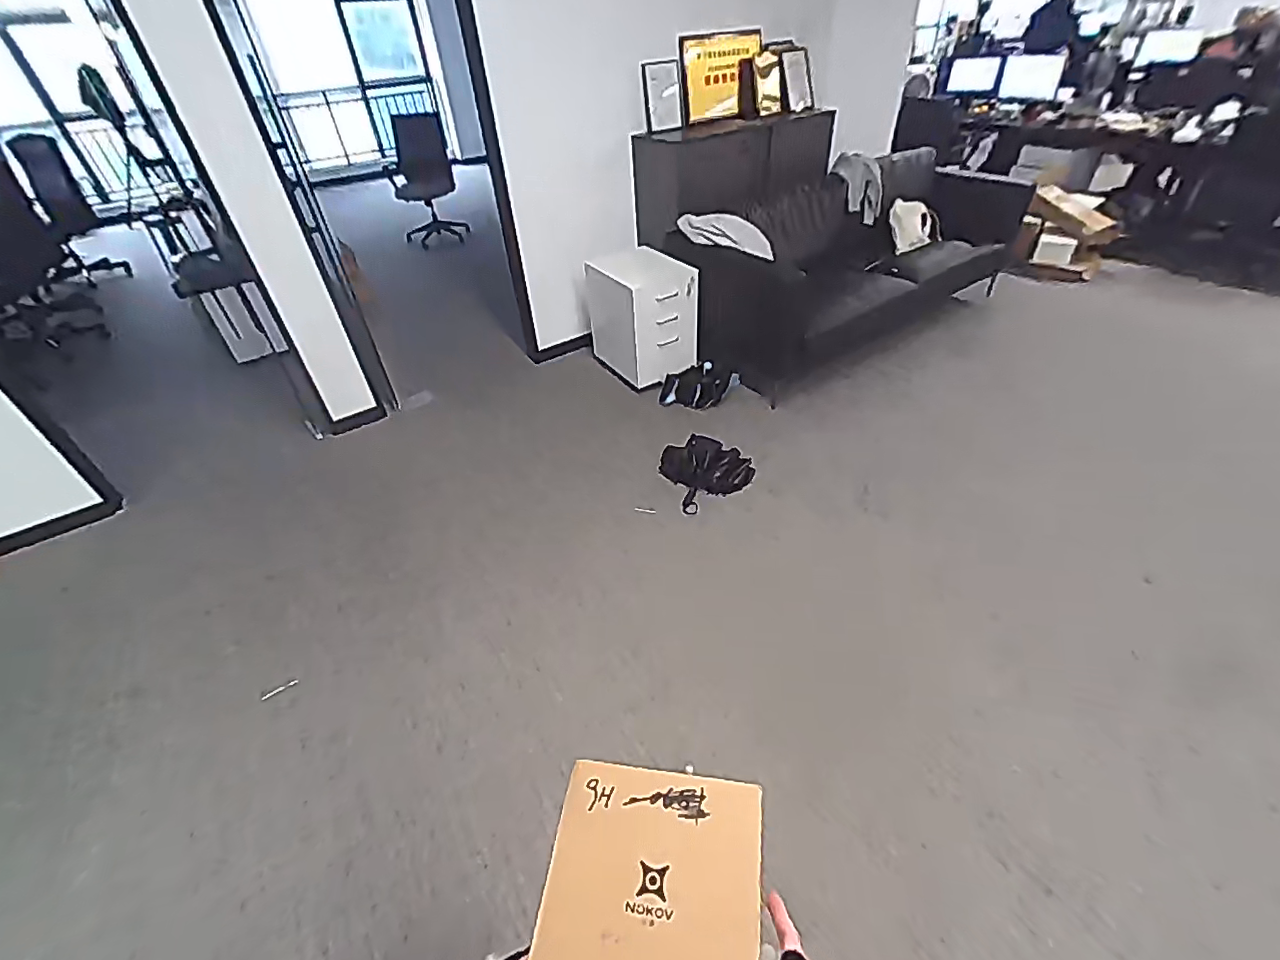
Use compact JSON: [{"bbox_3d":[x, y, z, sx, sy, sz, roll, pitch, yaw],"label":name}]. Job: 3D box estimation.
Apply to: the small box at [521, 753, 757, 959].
[{"bbox_3d":[0.011,0.363,0.466,0.168,0.176,0.179,4,48,10],"label":"small box"}]
